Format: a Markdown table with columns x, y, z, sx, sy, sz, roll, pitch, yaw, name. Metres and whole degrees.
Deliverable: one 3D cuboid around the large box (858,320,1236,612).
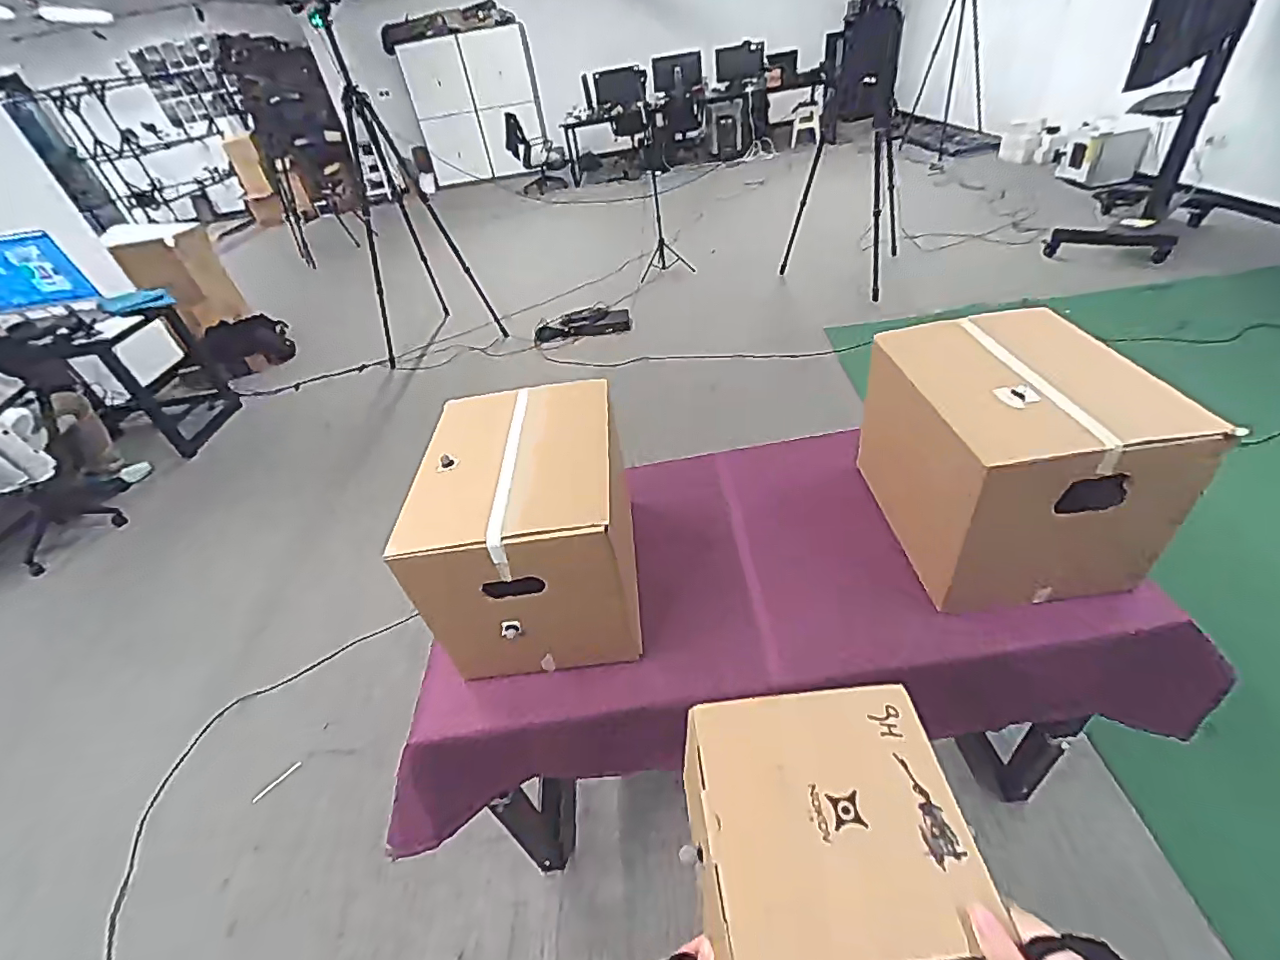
| x | y | z | sx | sy | sz | roll | pitch | yaw | name |
| --- | --- | --- | --- | --- | --- | --- | --- | --- | --- |
| 0.616 | -0.036 | 0.938 | 0.320 | 0.320 | 0.408 | -8 | 40 | 4 | large box |
